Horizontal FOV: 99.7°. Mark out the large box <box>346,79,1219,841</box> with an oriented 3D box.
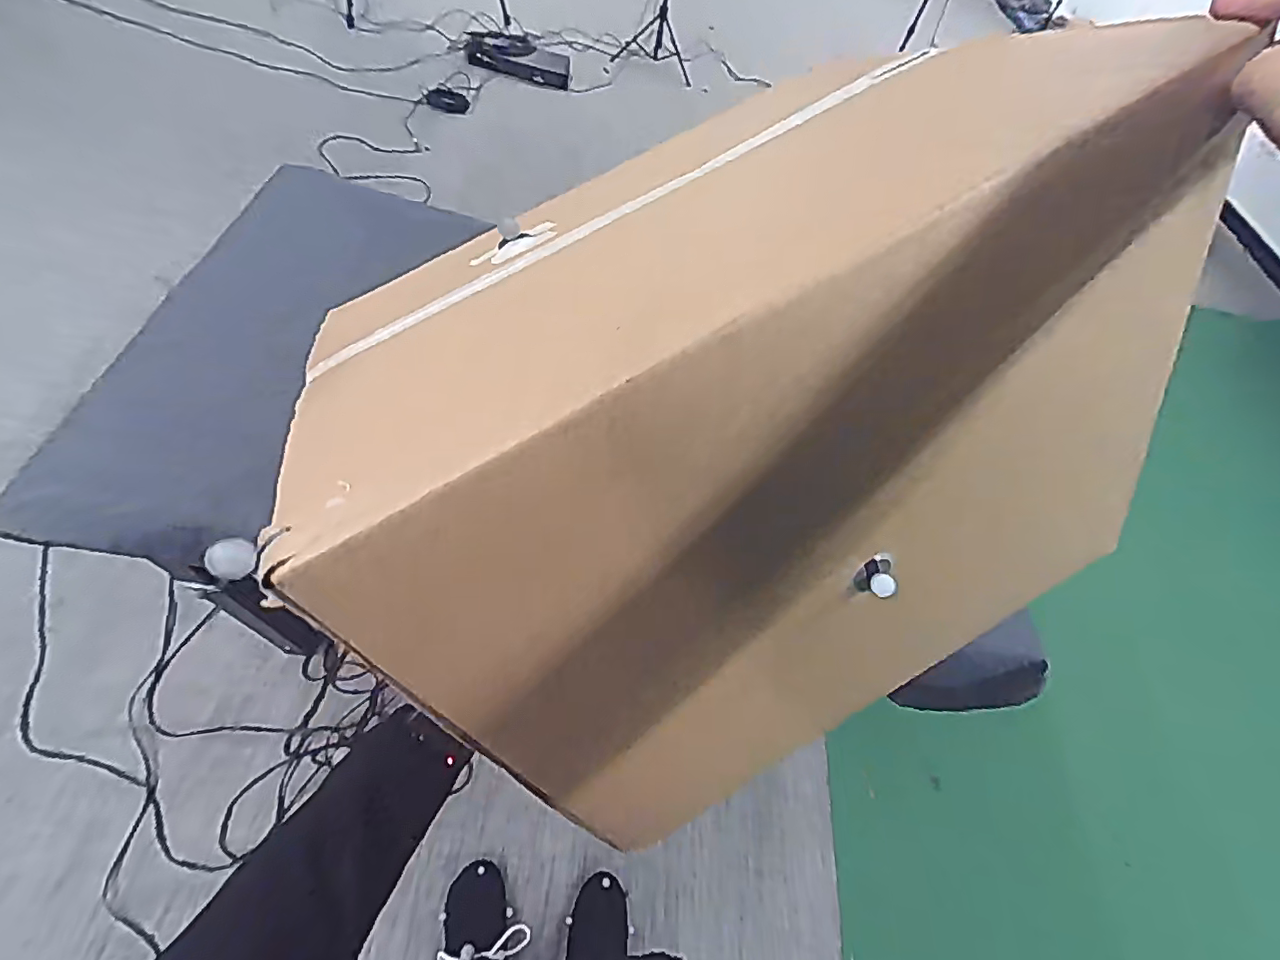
[{"bbox_3d":[0.066,-0.030,0.408,0.408,0.320,0.320,-31,38,-5],"label":"large box"}]
